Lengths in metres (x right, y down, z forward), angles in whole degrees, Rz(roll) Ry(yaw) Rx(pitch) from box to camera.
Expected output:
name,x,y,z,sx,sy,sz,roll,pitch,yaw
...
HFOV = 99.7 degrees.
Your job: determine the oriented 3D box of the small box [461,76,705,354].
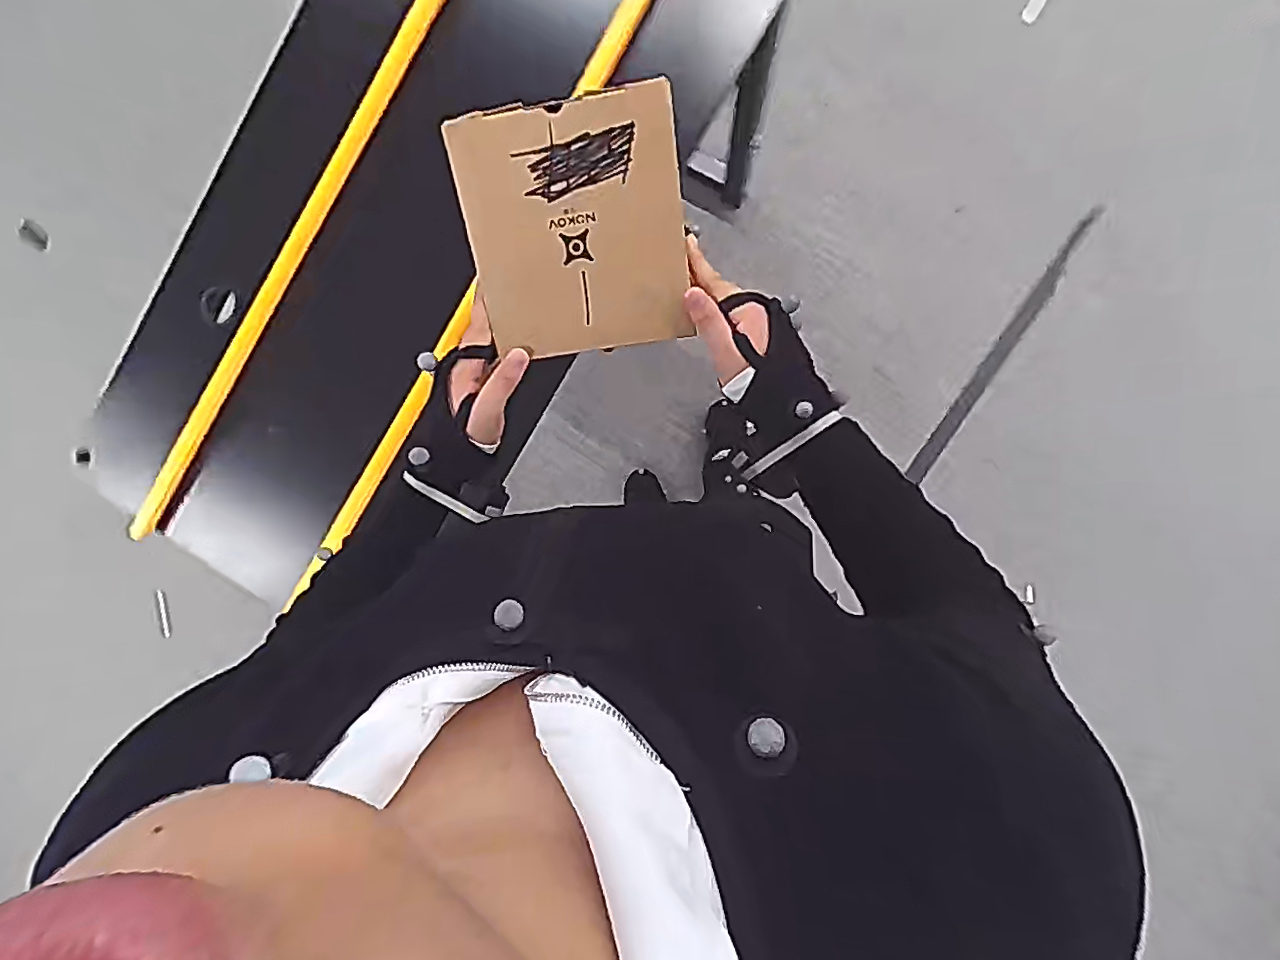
name,x,y,z,sx,sy,sz,roll,pitch,yaw
small box,-0.034,-0.219,0.483,0.168,0.176,0.179,-5,111,7
